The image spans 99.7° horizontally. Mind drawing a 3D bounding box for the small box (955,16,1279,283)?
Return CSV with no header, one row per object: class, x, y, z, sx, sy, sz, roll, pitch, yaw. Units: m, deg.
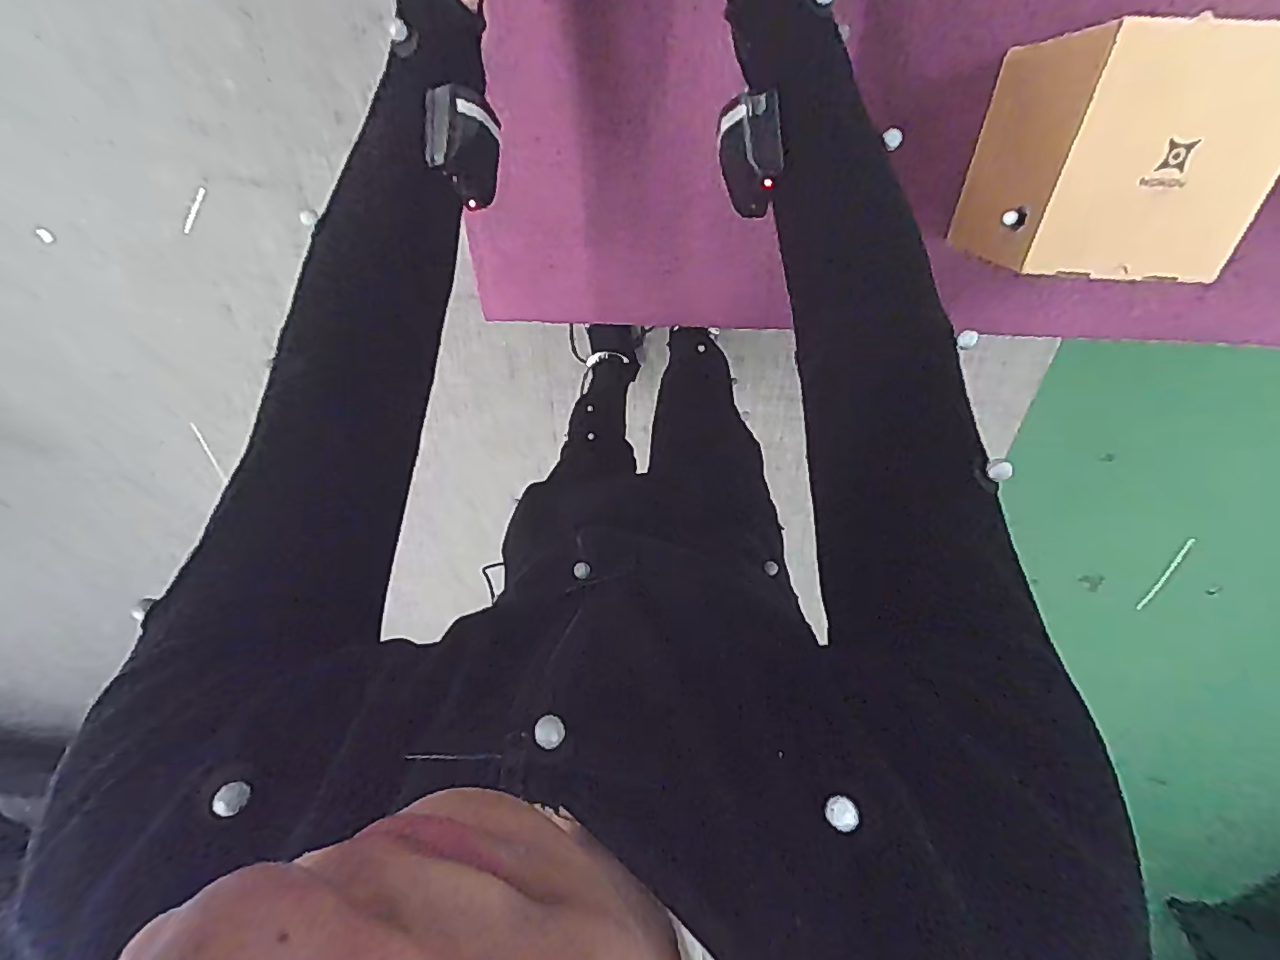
small box,0.423,-0.293,0.492,0.168,0.176,0.179,4,124,3
